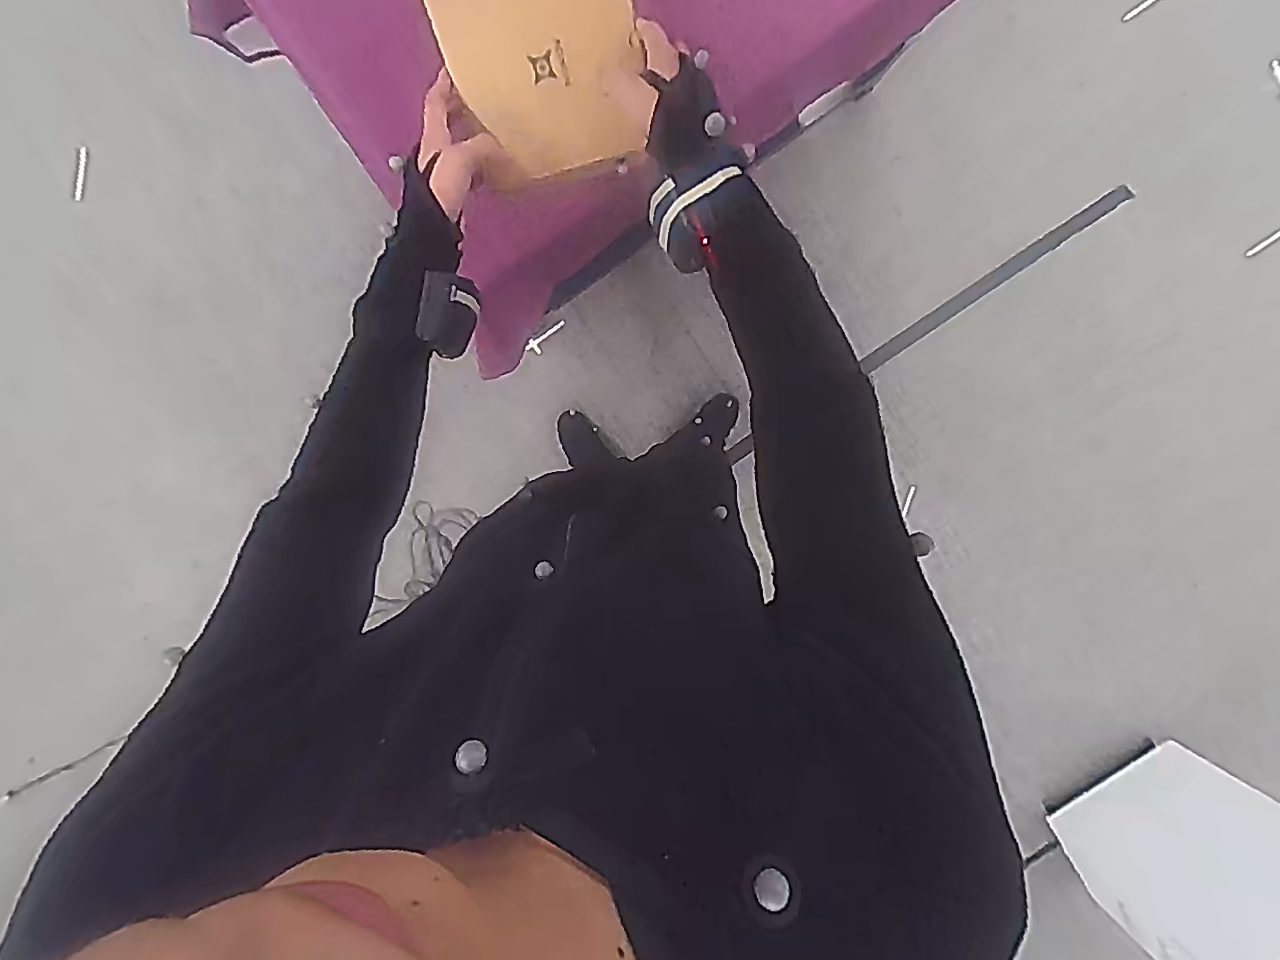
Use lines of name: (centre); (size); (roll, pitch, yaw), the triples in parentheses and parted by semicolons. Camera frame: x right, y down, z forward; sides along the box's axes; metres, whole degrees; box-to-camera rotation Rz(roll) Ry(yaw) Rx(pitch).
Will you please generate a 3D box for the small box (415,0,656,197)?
small box: (-0.094, -0.401, 0.550); (0.179, 0.176, 0.168); (-17, 116, 2)
